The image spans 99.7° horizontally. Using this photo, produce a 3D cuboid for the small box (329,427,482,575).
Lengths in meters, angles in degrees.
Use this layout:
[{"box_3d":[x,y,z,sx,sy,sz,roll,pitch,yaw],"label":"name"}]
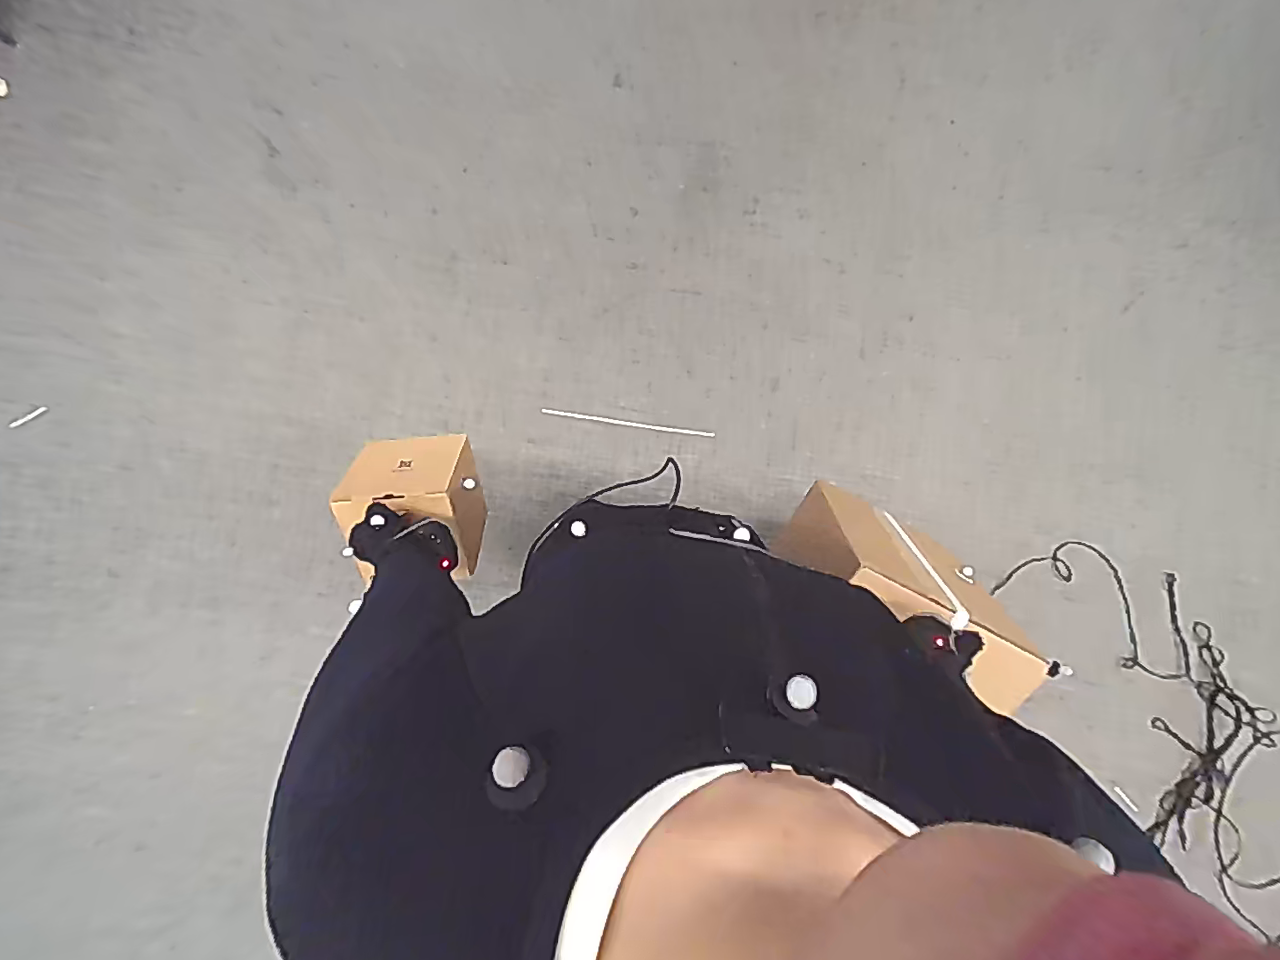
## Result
[{"box_3d":[-0.363,0.032,0.878,0.168,0.179,0.176,-5,125,-3],"label":"small box"}]
